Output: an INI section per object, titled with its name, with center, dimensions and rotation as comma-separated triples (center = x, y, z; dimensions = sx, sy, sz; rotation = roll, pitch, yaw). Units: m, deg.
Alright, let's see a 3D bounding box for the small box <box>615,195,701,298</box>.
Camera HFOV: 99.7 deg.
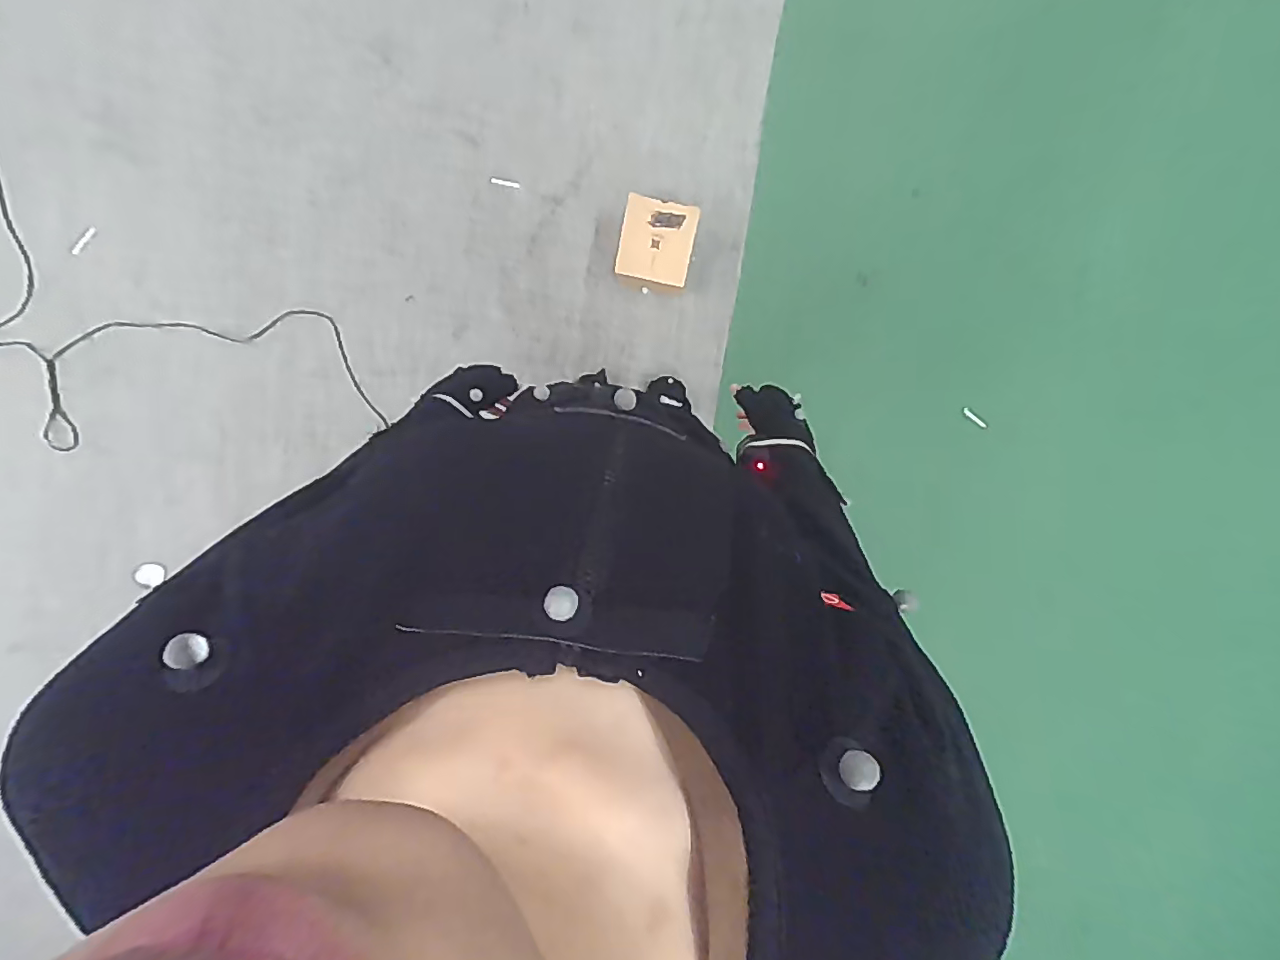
[small box]
center = 0.039, -0.548, 1.292
dimensions = 0.168, 0.176, 0.179
rotation = 12, 102, -2
